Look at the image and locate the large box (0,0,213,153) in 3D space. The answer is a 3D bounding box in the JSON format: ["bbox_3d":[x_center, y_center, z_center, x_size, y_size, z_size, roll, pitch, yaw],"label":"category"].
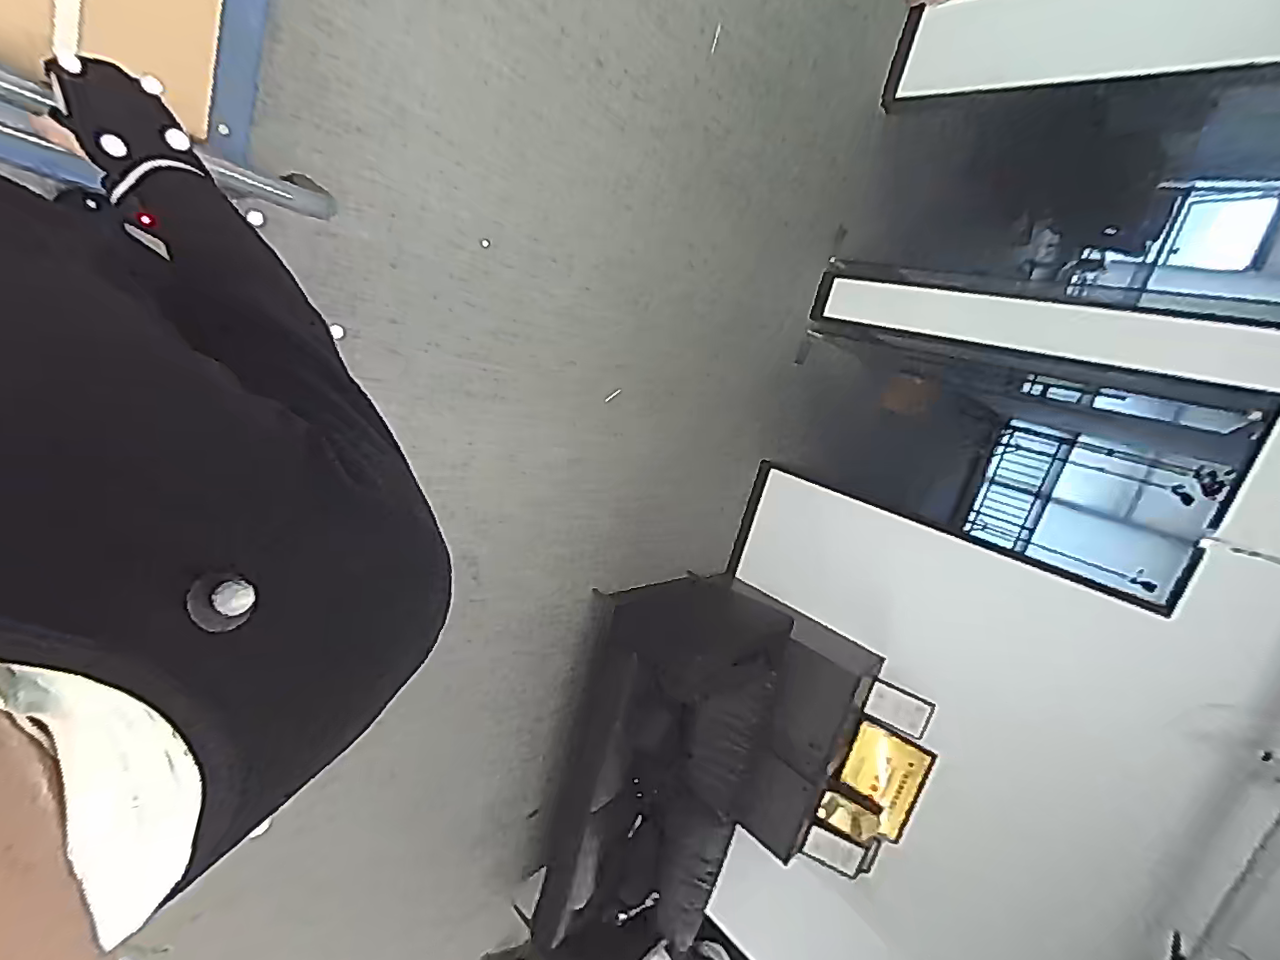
[{"bbox_3d":[-0.841,-0.759,0.783,0.320,0.320,0.408,3,107,-50],"label":"large box"}]
